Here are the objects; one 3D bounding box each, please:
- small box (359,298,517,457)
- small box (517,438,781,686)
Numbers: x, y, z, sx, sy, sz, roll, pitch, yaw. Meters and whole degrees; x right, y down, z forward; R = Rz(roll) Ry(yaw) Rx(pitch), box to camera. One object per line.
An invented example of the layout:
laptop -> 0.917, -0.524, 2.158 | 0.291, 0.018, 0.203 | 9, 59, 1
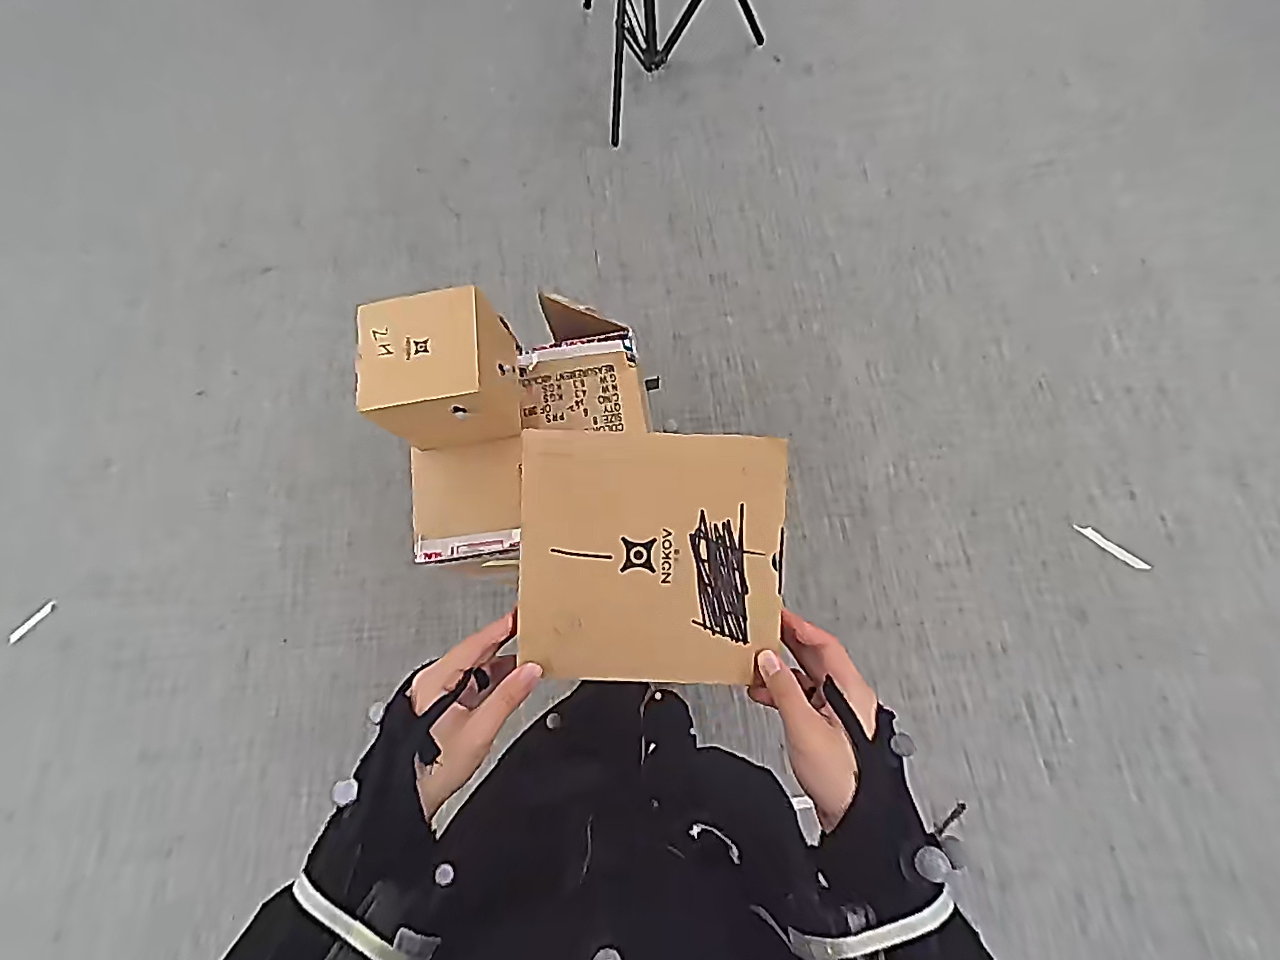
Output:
small box -> -0.292, -0.145, 0.816 | 0.179, 0.176, 0.168 | -9, 74, 5
small box -> 0.006, 0.055, 0.443 | 0.179, 0.176, 0.168 | 1, 89, 1
